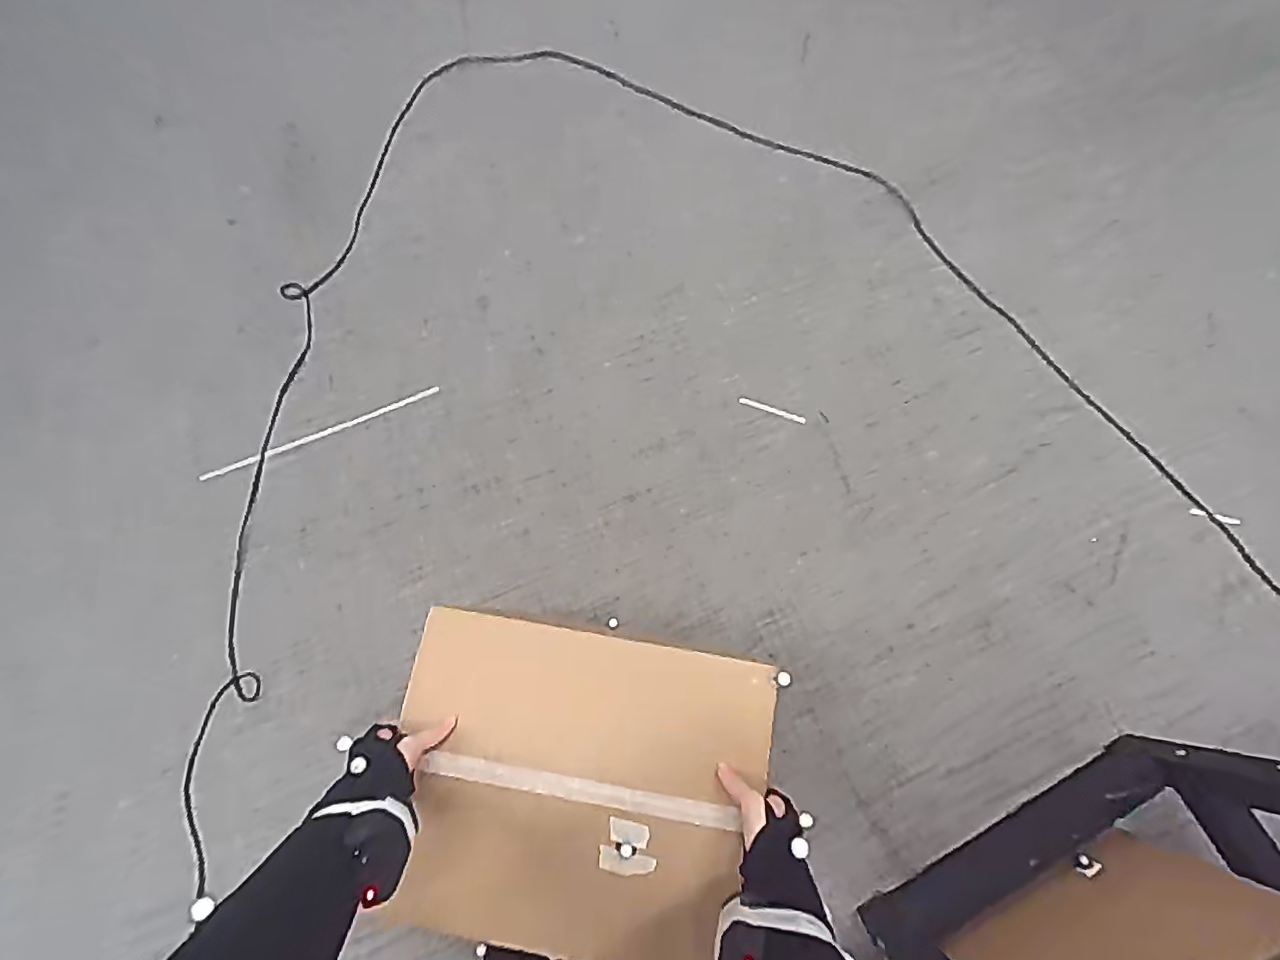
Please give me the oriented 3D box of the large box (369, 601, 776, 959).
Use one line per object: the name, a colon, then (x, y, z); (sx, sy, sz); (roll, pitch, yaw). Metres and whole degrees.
large box: (-0.064, 0.352, 0.729); (0.408, 0.320, 0.320); (9, 77, 3)
